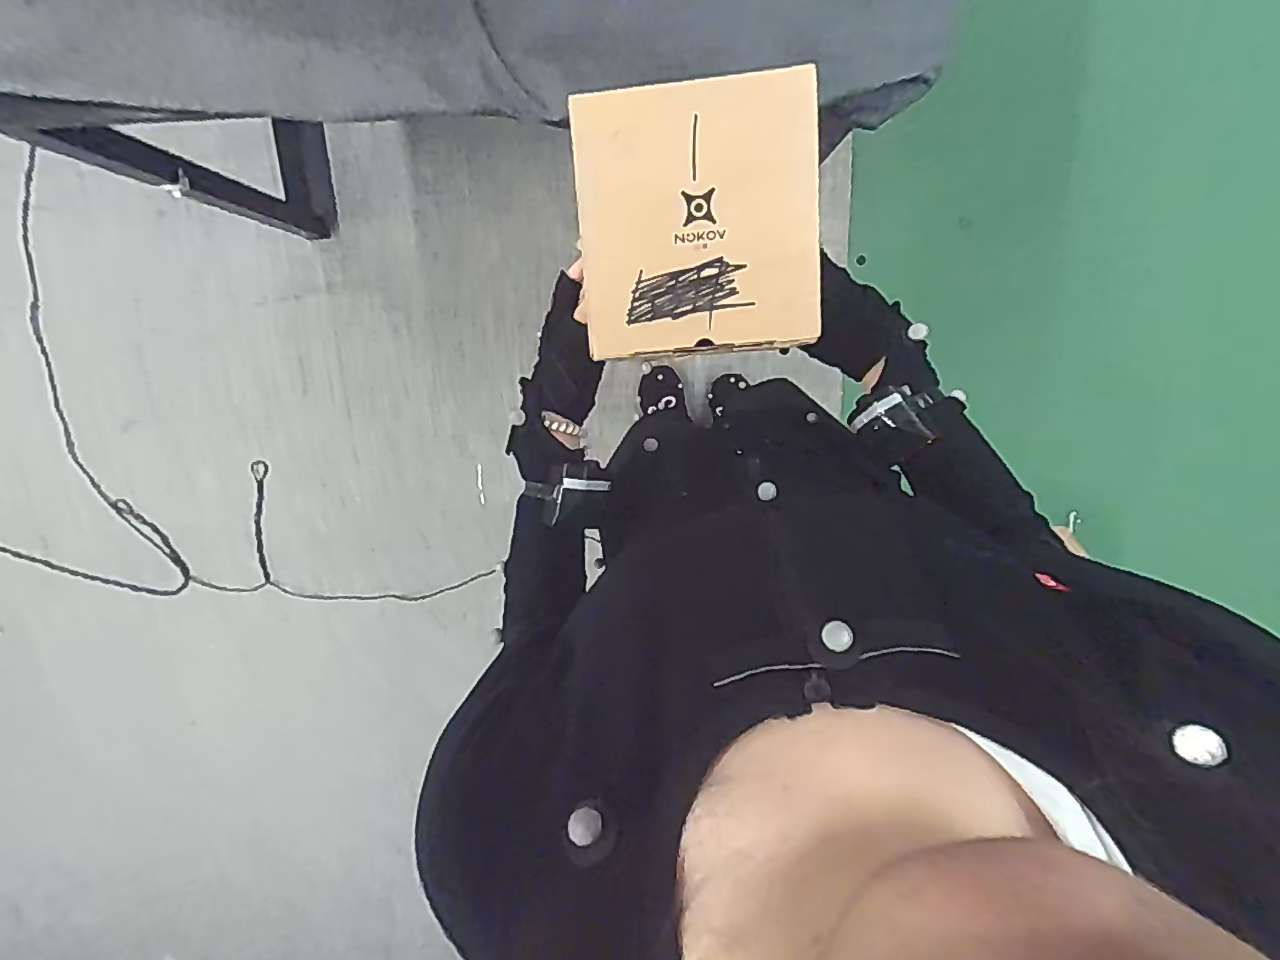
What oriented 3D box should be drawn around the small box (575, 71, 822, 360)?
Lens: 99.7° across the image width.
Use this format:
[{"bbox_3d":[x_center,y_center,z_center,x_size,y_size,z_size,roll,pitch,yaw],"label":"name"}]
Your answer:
[{"bbox_3d":[0.047,-0.194,0.451,0.168,0.176,0.179,-3,101,4],"label":"small box"}]
